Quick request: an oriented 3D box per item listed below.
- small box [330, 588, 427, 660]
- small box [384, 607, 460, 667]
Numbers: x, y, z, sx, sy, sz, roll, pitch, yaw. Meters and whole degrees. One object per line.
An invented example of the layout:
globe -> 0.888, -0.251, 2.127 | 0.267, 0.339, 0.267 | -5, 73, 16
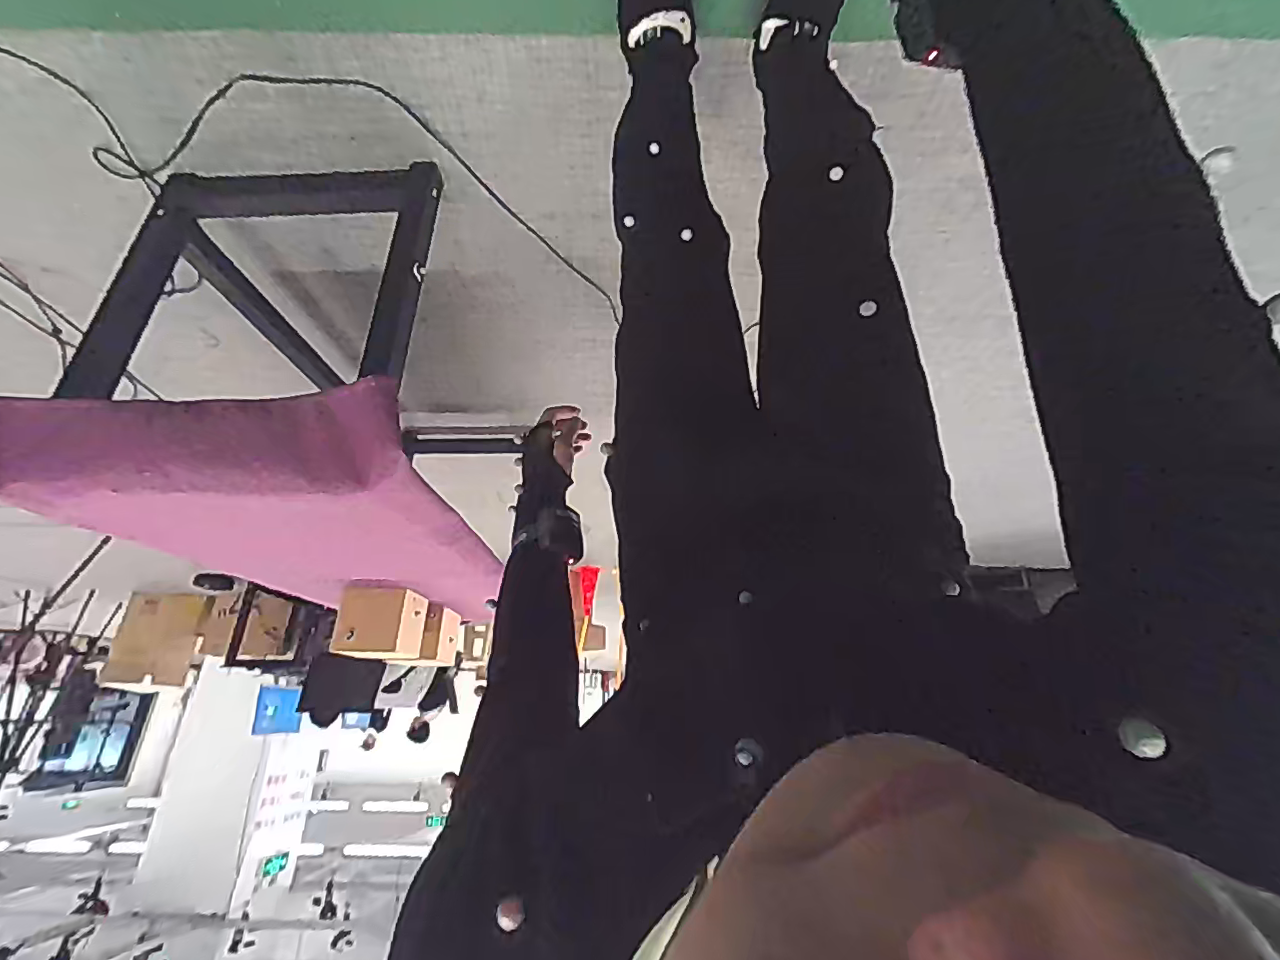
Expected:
small box -> -0.708, 0.396, 1.486 | 0.179, 0.176, 0.168 | 0, 157, 0
small box -> -0.685, 0.498, 1.719 | 0.168, 0.176, 0.179 | 1, 157, 1
